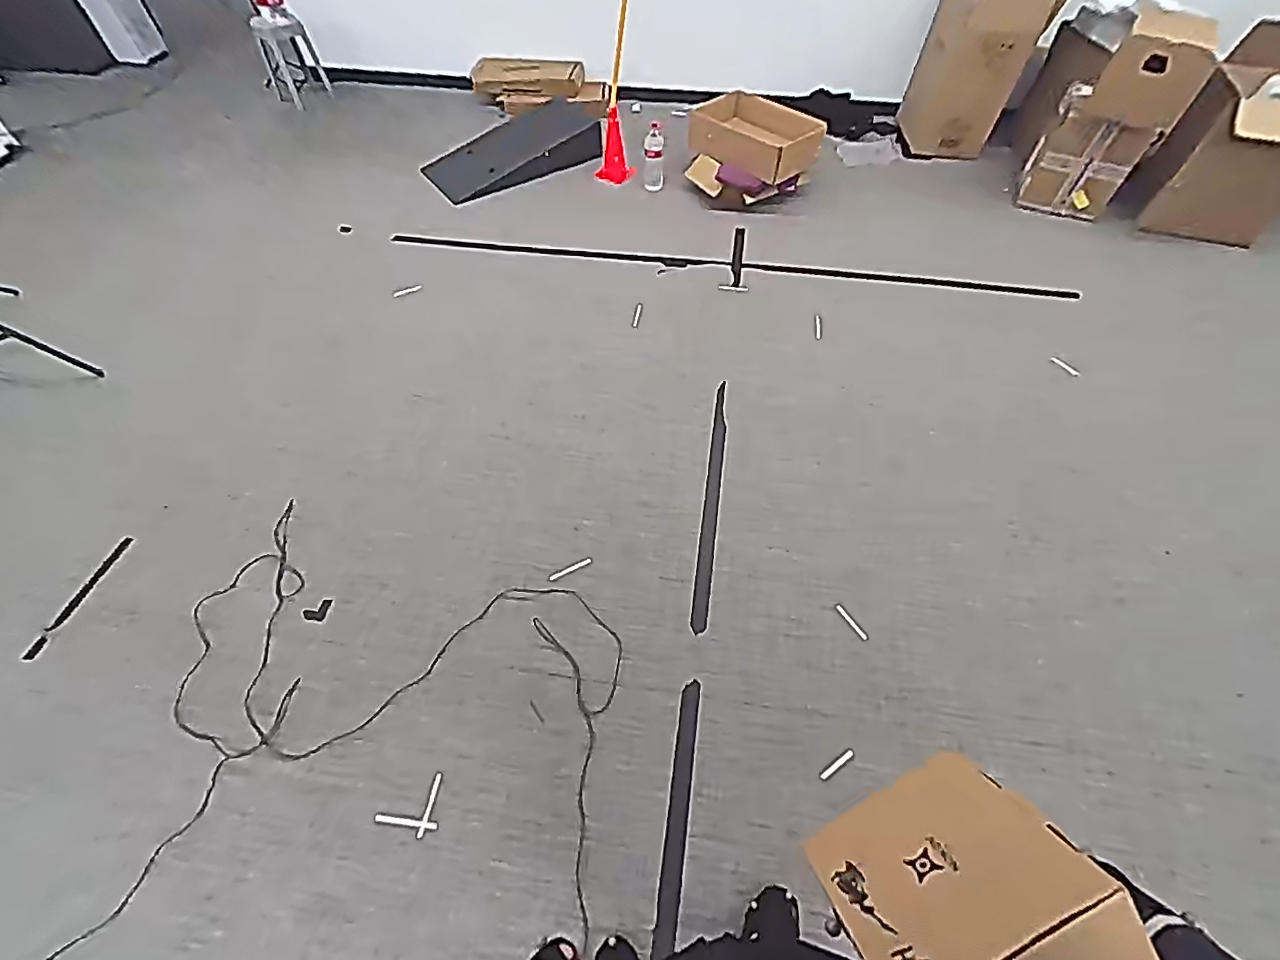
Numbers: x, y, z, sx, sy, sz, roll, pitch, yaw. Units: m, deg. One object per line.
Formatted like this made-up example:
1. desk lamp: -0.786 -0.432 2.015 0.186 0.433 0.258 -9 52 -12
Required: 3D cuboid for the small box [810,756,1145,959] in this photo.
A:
1. small box: 0.281 0.384 0.452 0.179 0.168 0.176 -28 95 -4
